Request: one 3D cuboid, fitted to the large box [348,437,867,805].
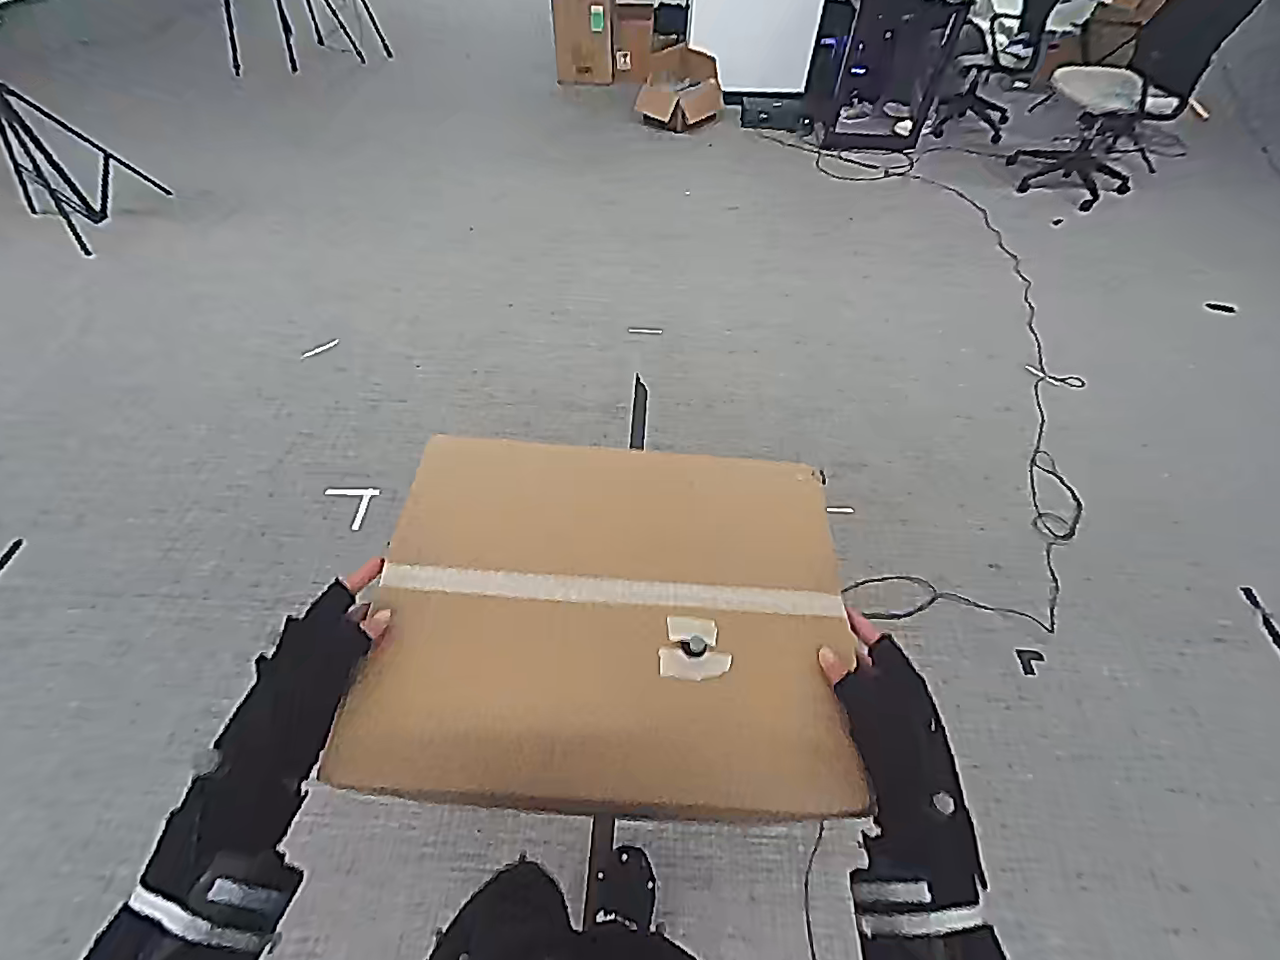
[{"bbox_3d":[-0.029,0.176,0.612,0.408,0.320,0.320,5,57,-3],"label":"large box"}]
